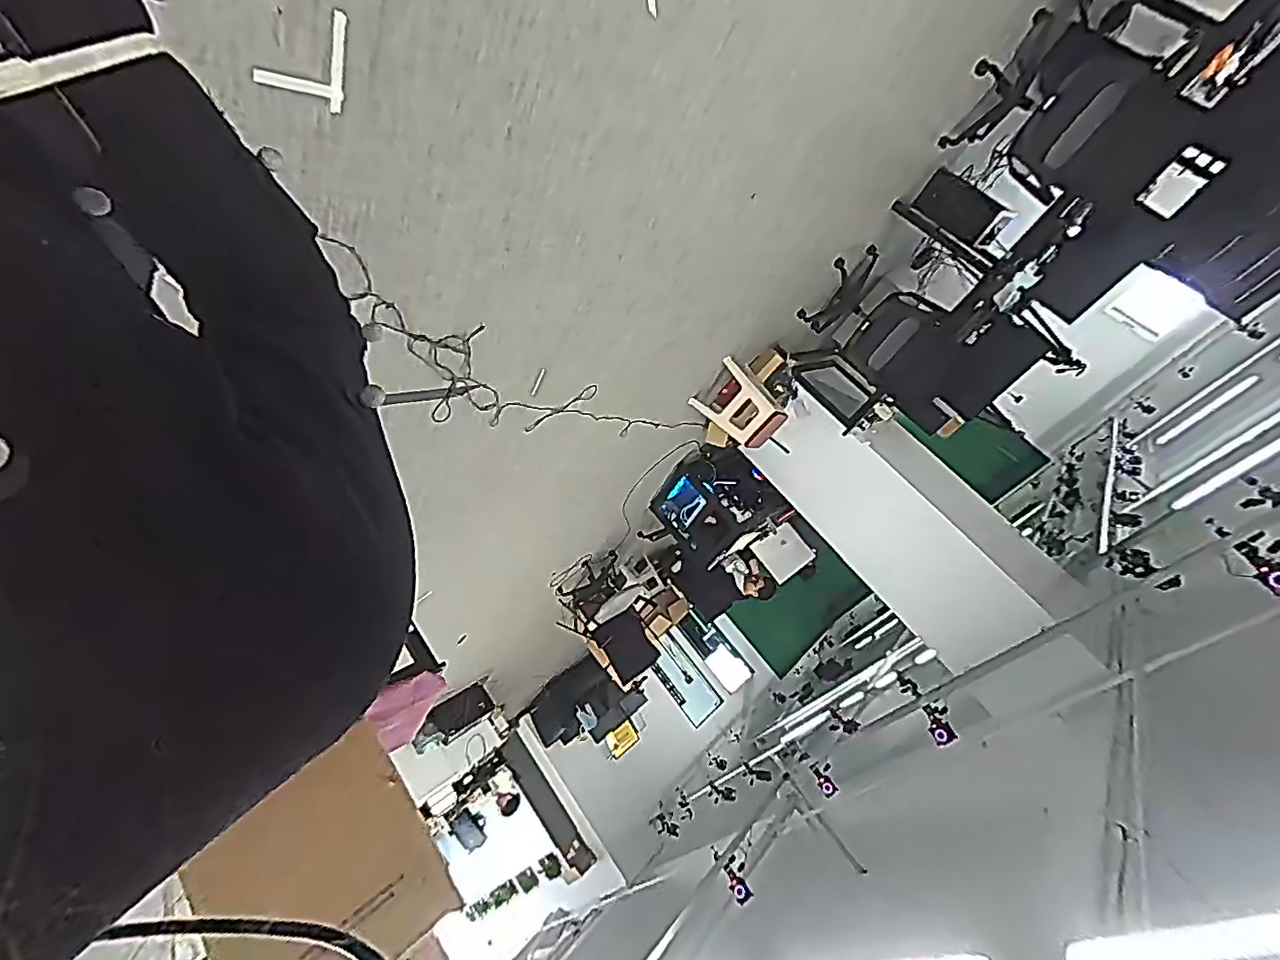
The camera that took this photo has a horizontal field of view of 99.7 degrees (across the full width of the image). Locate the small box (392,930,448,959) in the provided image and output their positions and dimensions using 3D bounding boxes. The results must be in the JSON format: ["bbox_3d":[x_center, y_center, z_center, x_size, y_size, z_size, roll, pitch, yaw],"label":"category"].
[{"bbox_3d":[-0.676,1.497,1.612,0.168,0.176,0.179,-17,151,-48],"label":"small box"}]
